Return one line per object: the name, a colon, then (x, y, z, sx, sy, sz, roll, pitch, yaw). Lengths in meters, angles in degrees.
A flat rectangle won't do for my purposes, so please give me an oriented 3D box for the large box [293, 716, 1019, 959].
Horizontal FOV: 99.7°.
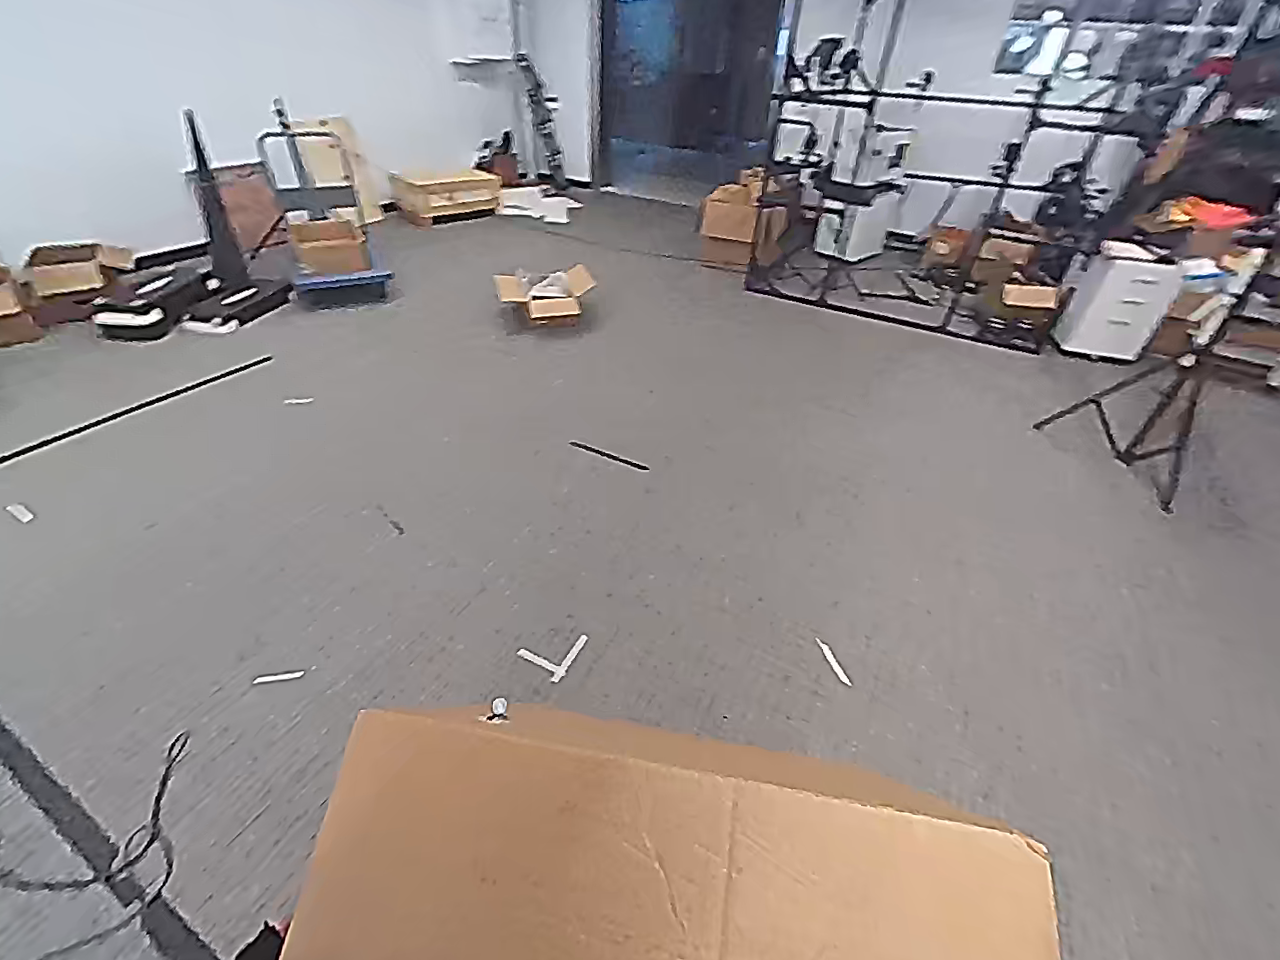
large box: (0.002, 0.374, 0.414, 0.408, 0.320, 0.320, 6, 70, 9)
